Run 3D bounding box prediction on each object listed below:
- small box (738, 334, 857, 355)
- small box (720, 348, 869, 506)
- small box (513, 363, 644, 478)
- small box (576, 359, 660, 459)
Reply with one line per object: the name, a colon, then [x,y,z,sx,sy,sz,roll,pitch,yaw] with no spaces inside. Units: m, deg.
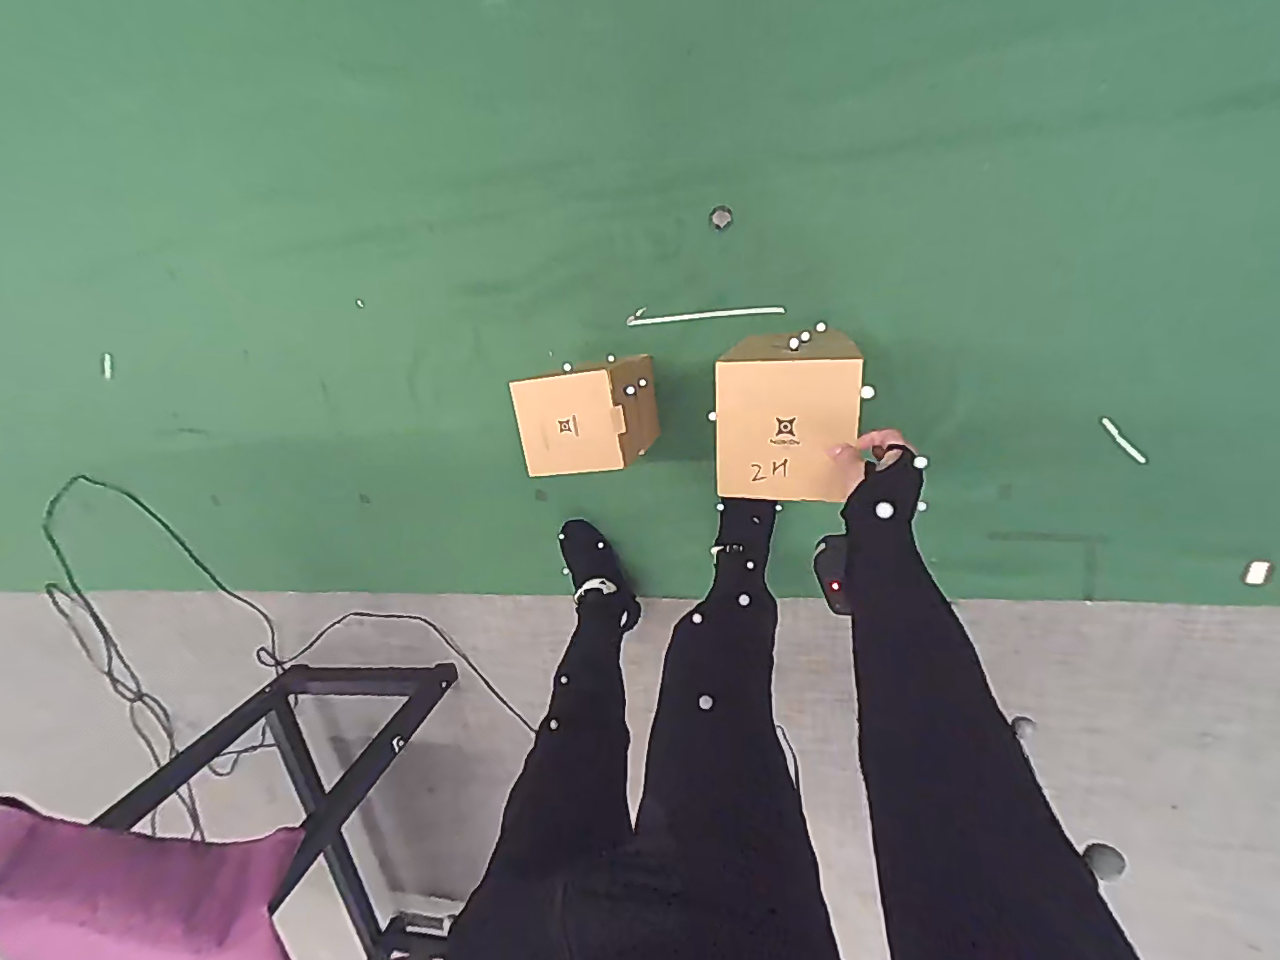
small box: [0.247,-0.132,0.864,0.168,0.176,0.179,1,110,15]
small box: [0.198,-0.080,0.714,0.168,0.176,0.179,3,111,17]
small box: [-0.097,-0.110,0.958,0.179,0.176,0.168,-4,106,15]
small box: [-0.060,-0.145,1.113,0.168,0.176,0.179,-4,106,15]
